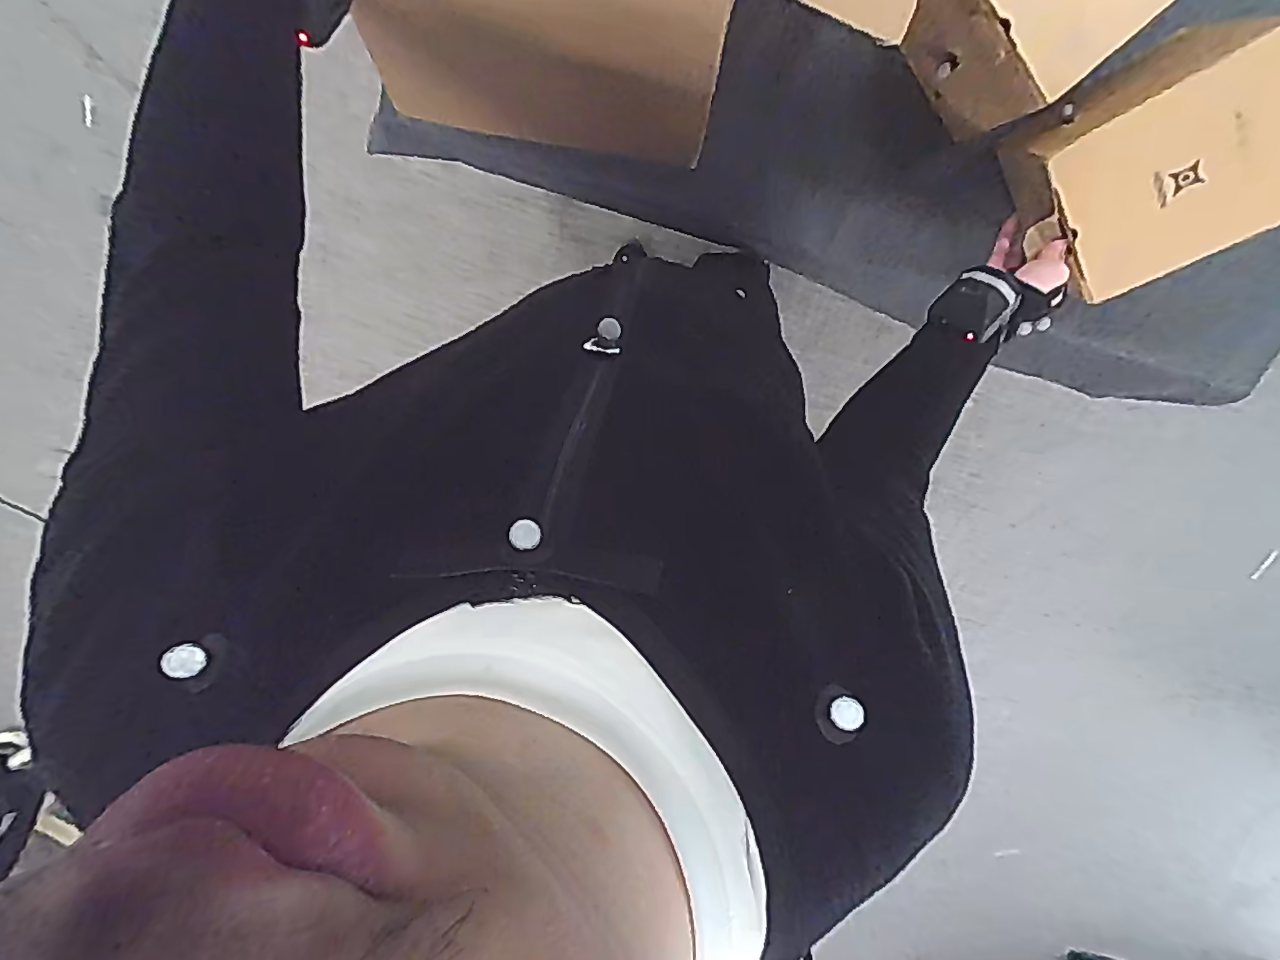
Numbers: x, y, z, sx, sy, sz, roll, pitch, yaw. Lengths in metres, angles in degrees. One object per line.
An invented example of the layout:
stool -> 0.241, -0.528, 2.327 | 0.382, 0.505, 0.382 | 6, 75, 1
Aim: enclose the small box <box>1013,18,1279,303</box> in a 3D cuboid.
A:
small box -> 0.516, -0.318, 0.555 | 0.179, 0.176, 0.168 | -25, 115, 30
